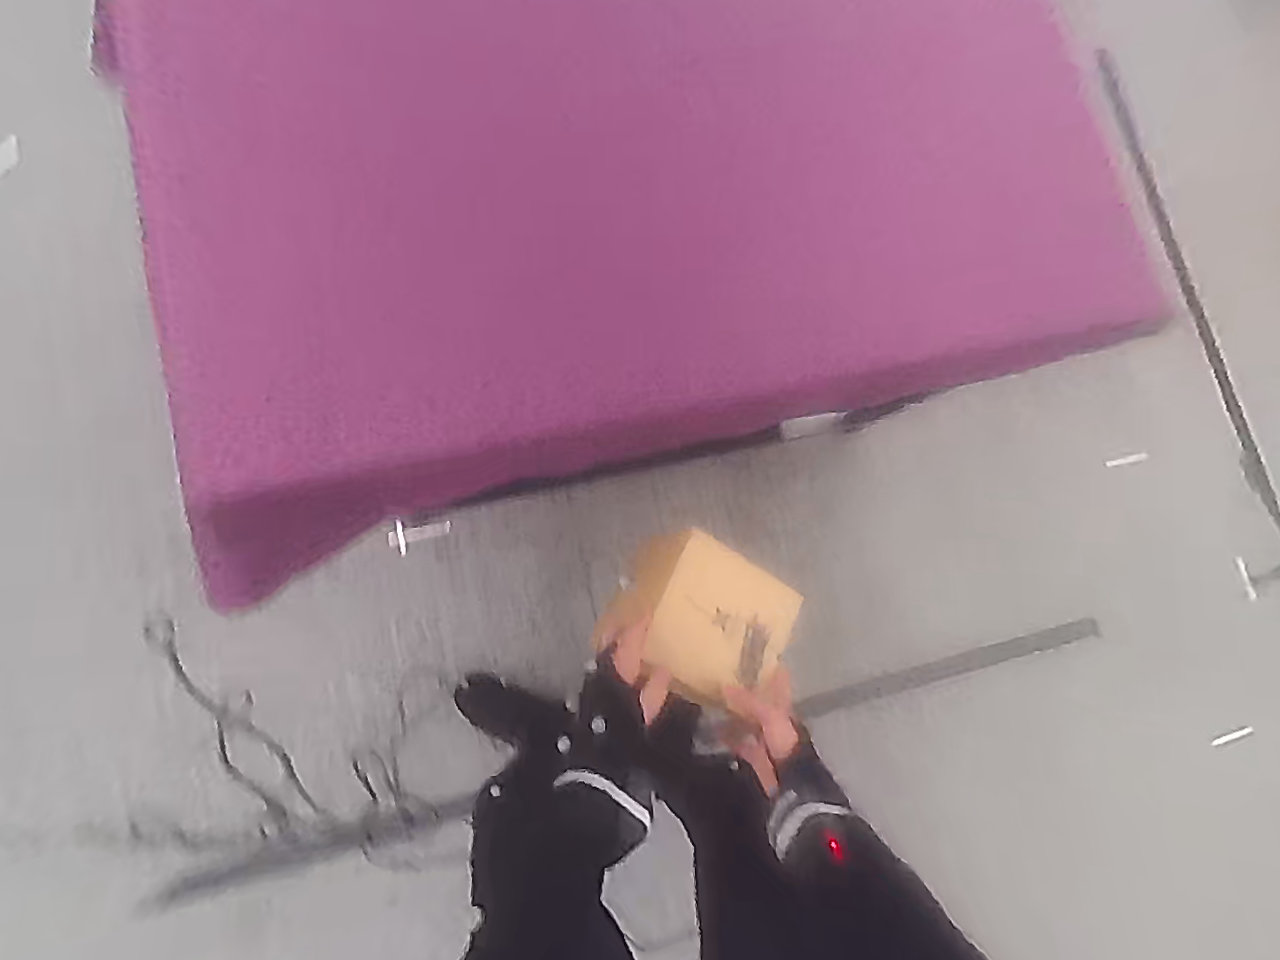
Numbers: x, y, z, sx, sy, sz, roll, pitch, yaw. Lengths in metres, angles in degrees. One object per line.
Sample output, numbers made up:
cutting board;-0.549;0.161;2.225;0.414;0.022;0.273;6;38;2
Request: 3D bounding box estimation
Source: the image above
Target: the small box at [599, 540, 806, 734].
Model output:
small box;0.074;0.196;0.702;0.179;0.176;0.168;33;68;-11
